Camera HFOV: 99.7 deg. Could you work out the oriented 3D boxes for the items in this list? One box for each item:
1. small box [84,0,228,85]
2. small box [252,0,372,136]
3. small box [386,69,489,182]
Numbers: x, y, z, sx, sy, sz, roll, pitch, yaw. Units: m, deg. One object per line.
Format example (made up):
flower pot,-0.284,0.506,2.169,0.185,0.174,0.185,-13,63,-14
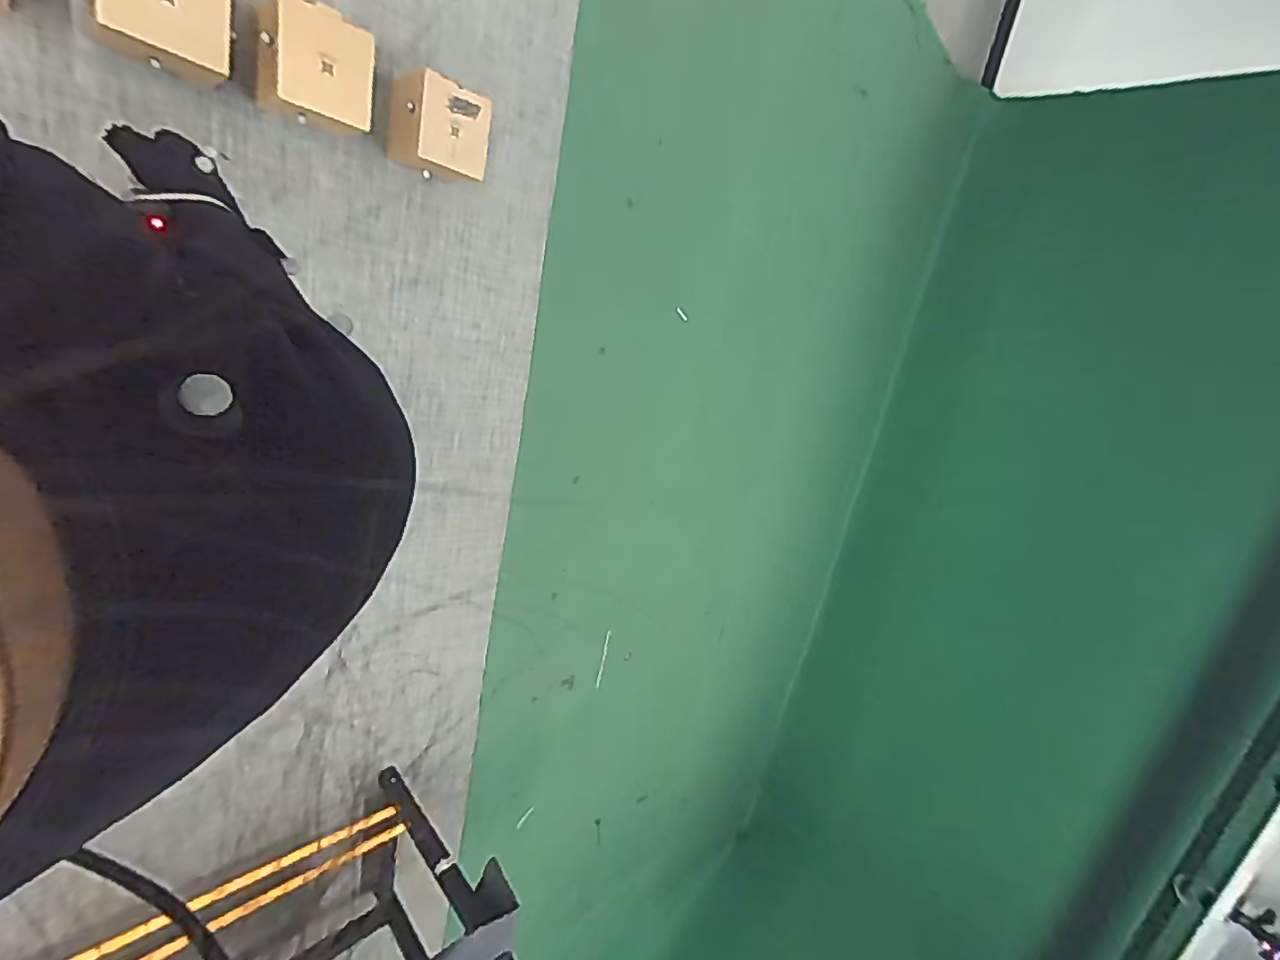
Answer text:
small box,-0.813,-0.803,0.910,0.168,0.176,0.179,-4,111,-48
small box,-0.658,-0.816,1.082,0.168,0.176,0.179,-7,113,-47
small box,-0.481,-0.824,1.277,0.168,0.176,0.179,-5,114,-47
